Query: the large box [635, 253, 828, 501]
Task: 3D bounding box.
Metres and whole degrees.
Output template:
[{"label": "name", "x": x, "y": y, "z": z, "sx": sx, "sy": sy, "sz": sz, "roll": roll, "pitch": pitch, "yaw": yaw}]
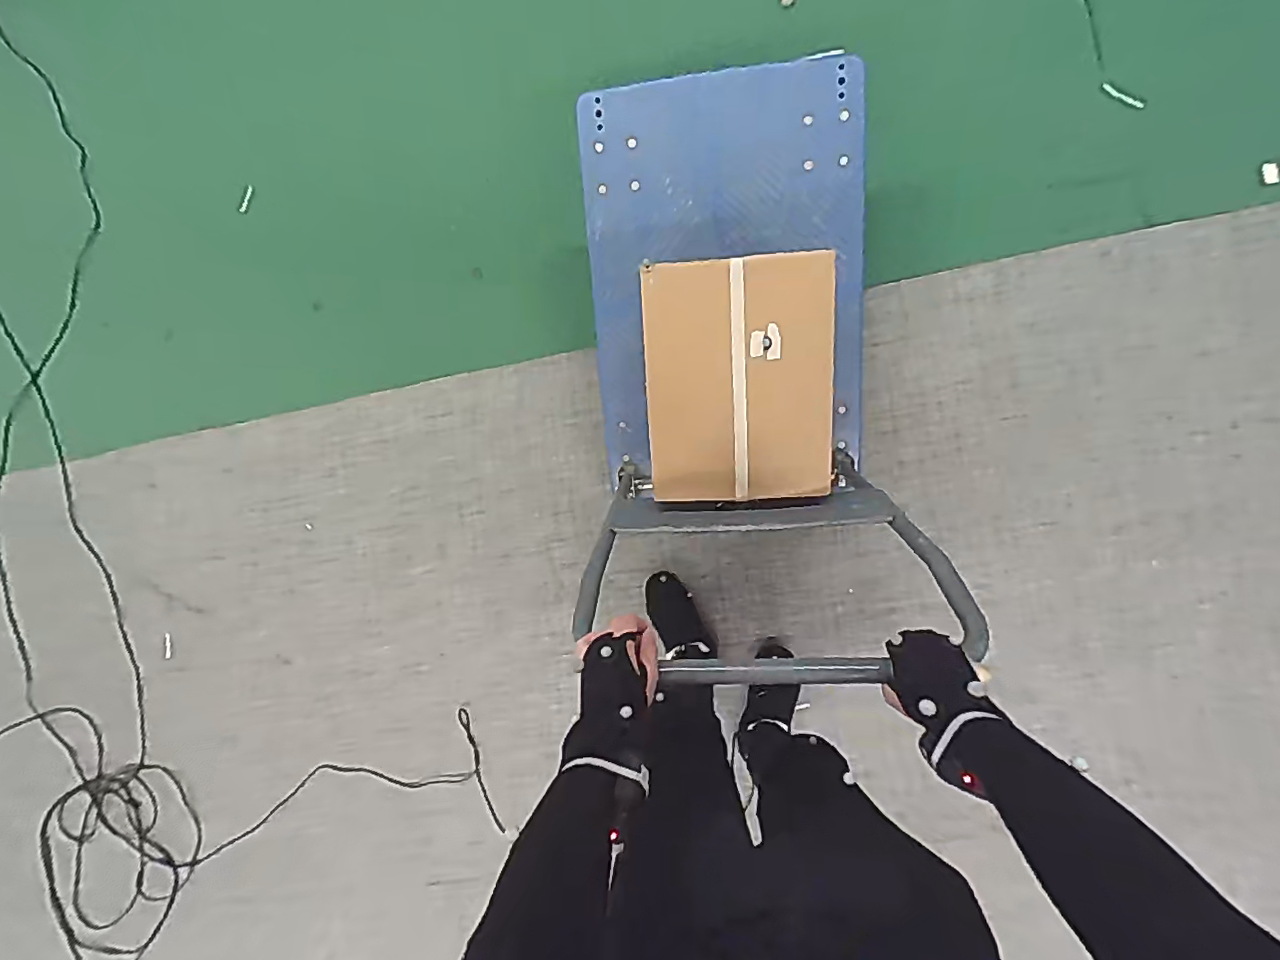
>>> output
[{"label": "large box", "x": 0.177, "y": -0.193, "z": 1.063, "sx": 0.320, "sy": 0.320, "sz": 0.408, "roll": -3, "pitch": 103, "yaw": 7}]
